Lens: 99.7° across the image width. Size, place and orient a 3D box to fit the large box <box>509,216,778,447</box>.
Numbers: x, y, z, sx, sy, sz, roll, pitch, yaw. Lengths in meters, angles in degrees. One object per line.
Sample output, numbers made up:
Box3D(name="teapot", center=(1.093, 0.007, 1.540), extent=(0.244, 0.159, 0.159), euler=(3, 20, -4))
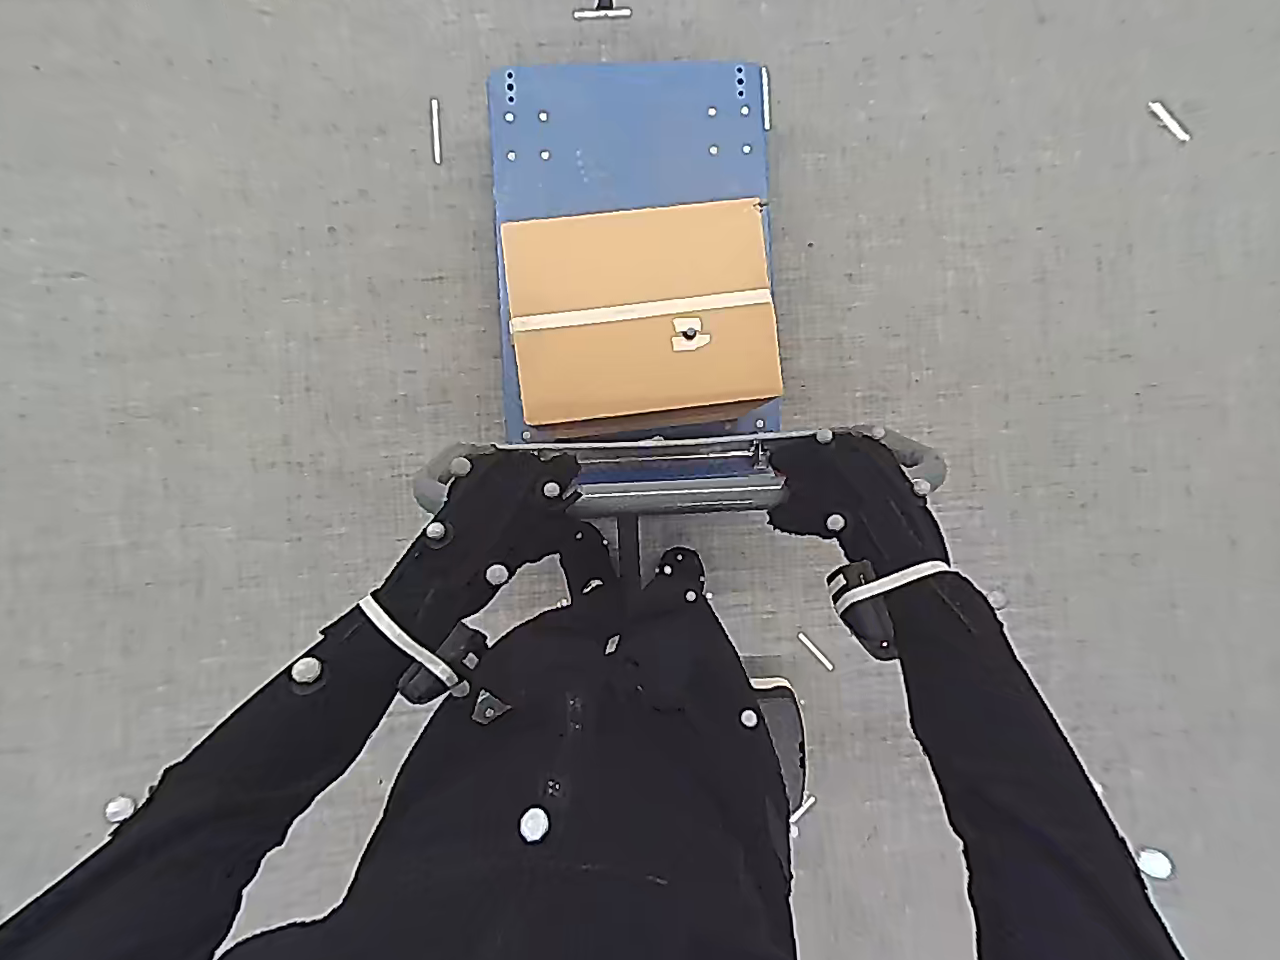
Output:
Box3D(name="large box", center=(-0.001, -0.246, 1.005), extent=(0.408, 0.320, 0.320), euler=(-7, 91, -3))
